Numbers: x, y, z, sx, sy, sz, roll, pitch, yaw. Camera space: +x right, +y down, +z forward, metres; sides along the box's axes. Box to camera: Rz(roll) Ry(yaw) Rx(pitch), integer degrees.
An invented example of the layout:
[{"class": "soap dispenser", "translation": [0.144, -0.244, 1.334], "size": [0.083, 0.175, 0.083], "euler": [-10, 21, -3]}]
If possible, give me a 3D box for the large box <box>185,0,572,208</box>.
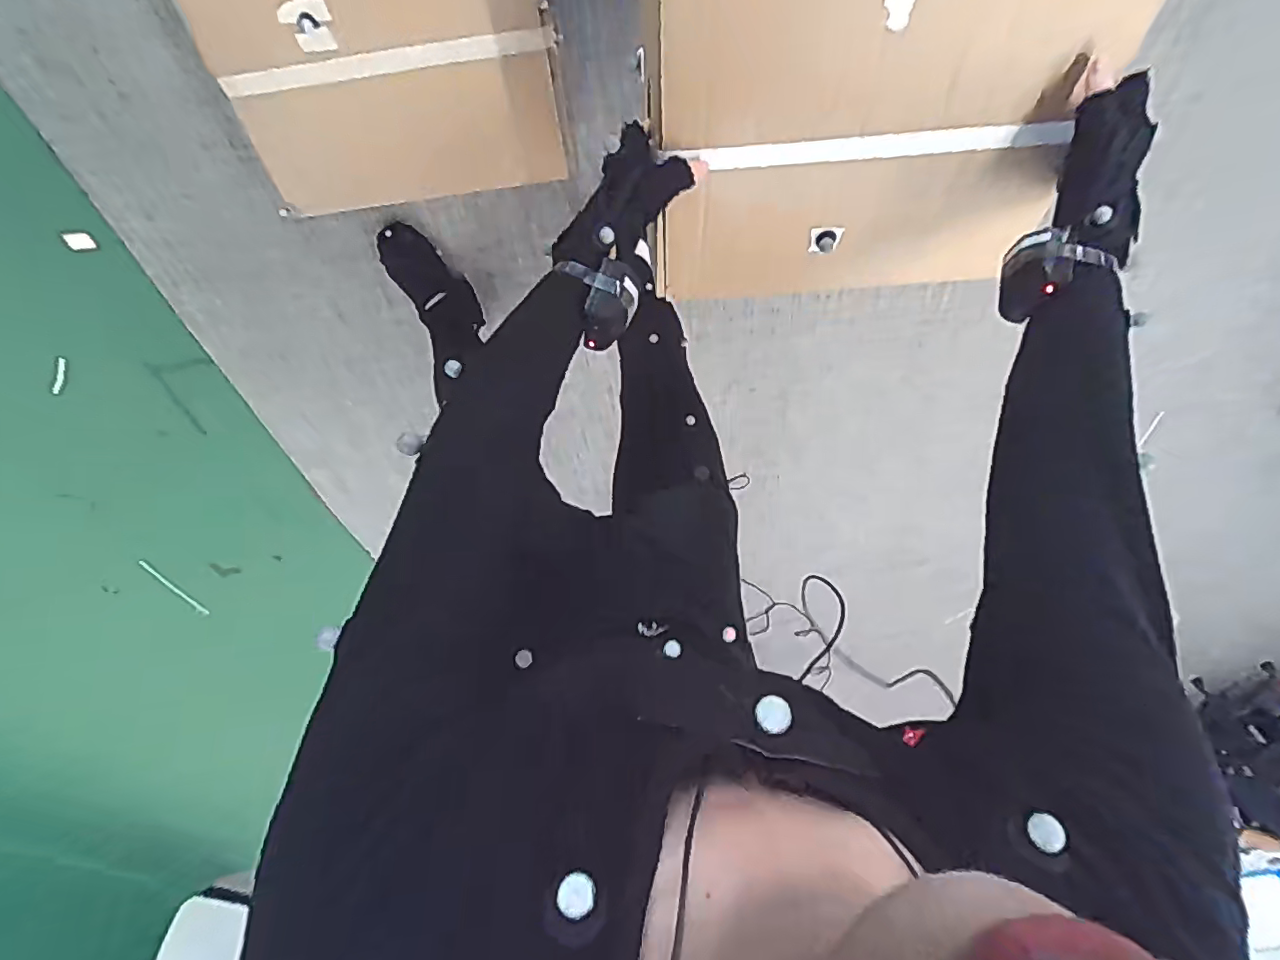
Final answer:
[{"class": "large box", "translation": [-0.323, -0.625, 0.762], "size": [0.408, 0.320, 0.320], "euler": [-7, 135, 1]}]
